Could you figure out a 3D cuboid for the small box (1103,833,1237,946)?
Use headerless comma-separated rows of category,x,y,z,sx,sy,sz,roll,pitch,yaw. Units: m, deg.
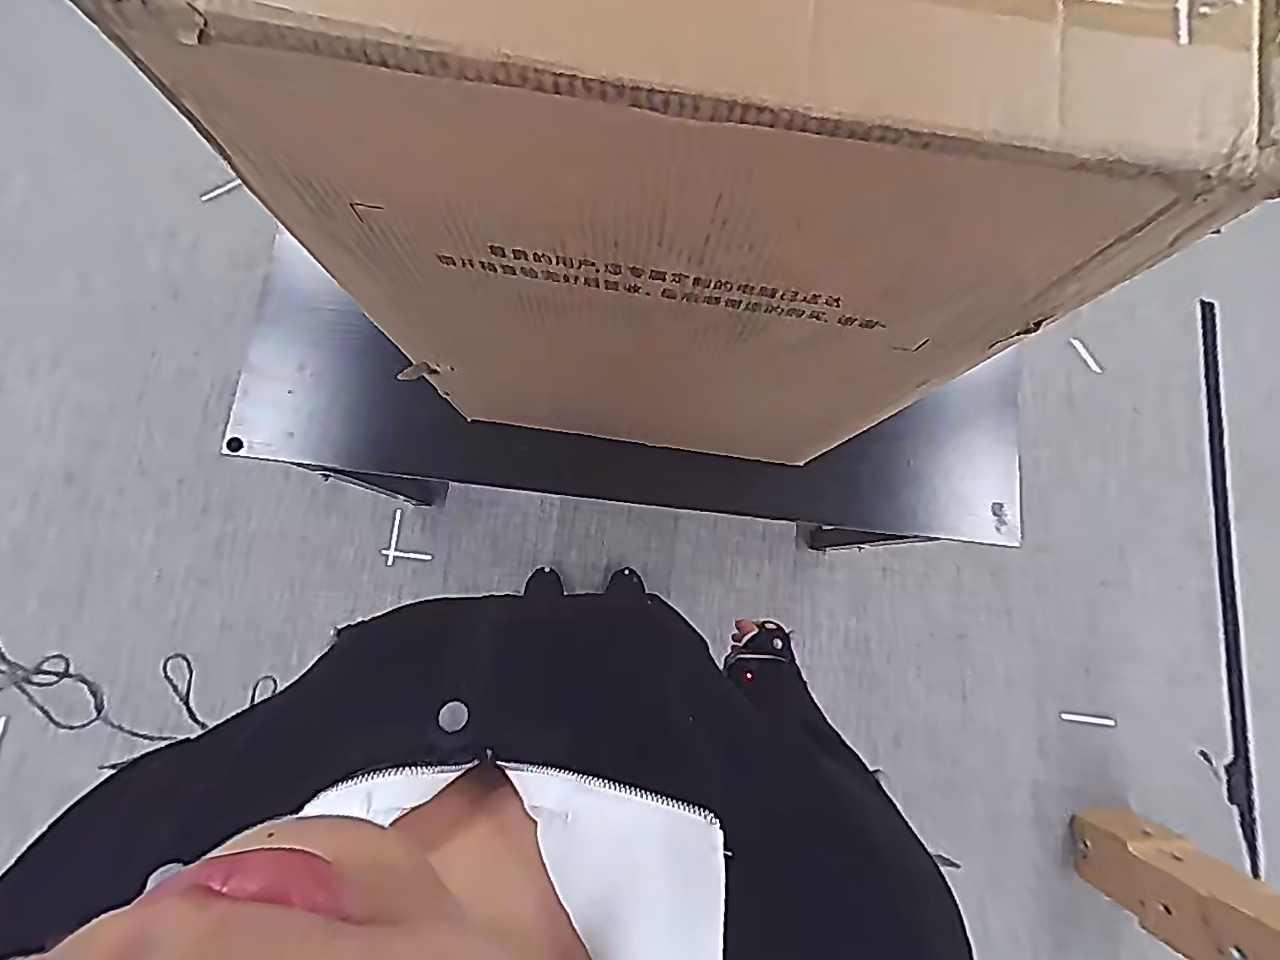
small box,1.290,0.986,1.316,0.179,0.176,0.168,0,80,-2

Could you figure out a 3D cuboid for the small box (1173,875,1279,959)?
small box,1.296,0.977,1.151,0.179,0.176,0.168,0,80,-3

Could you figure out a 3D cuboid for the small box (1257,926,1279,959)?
small box,1.309,0.959,0.987,0.179,0.176,0.168,4,80,-2
